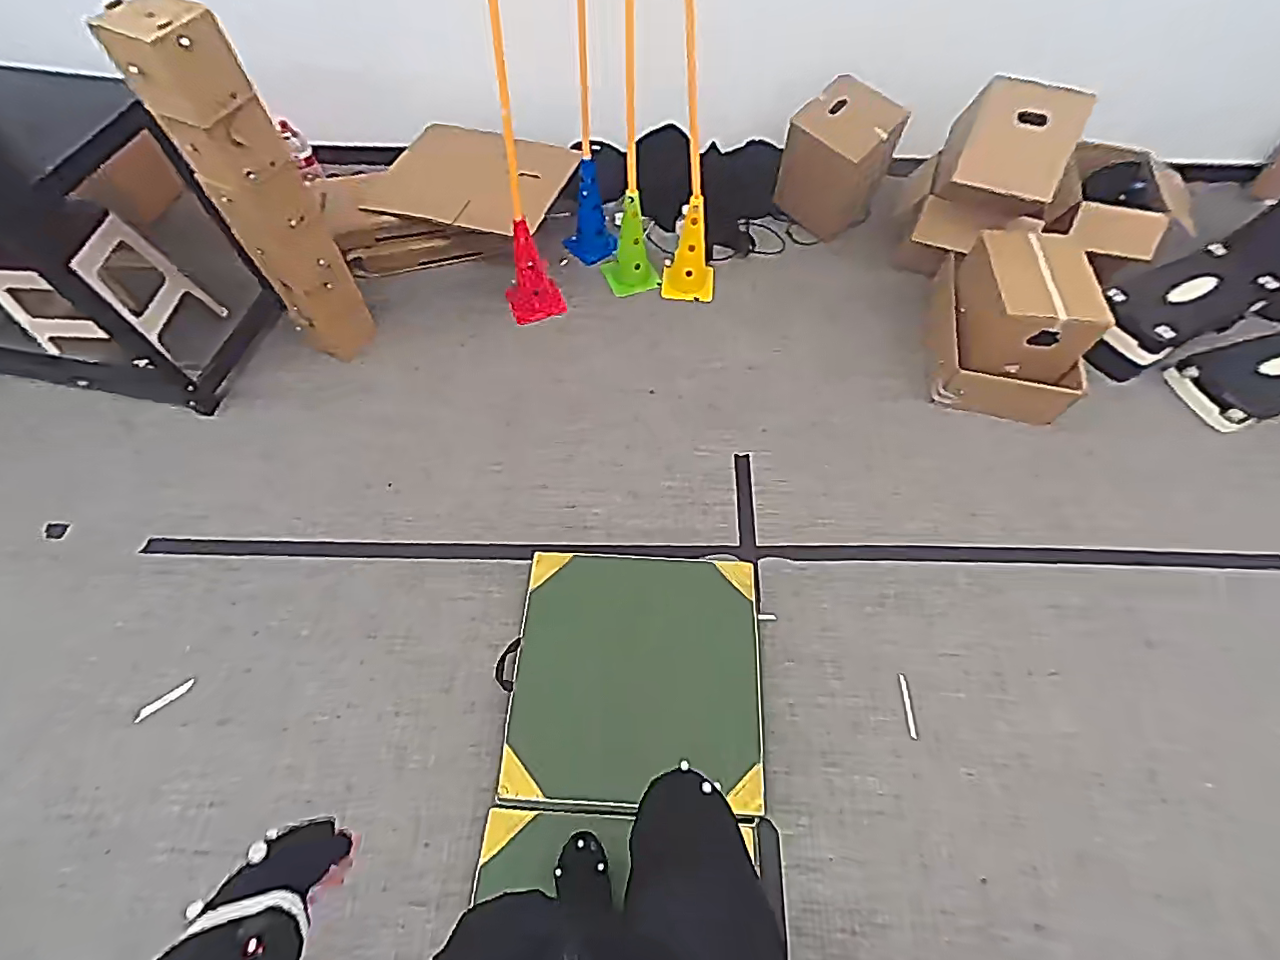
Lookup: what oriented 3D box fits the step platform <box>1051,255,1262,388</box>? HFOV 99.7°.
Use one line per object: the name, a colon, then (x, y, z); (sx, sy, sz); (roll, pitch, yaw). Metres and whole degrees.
step platform: (1.905, -0.593, 1.996); (0.684, 0.204, 0.286); (-24, 63, -13)
